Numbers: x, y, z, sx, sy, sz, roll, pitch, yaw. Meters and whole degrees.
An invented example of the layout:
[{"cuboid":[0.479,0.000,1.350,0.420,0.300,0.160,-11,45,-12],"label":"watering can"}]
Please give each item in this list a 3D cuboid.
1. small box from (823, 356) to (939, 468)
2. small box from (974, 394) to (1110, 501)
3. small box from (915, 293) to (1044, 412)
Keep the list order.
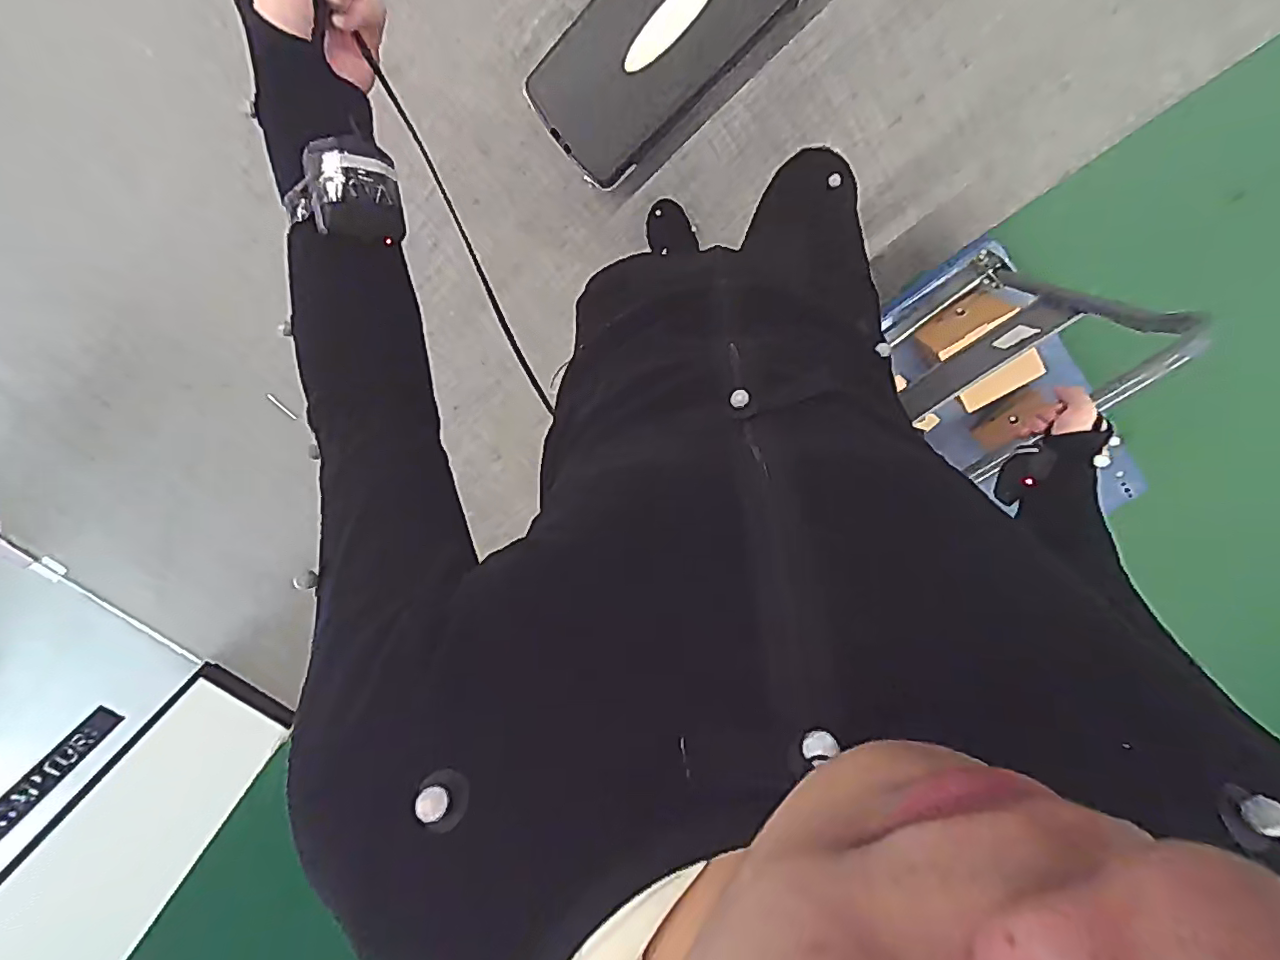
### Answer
[{"cuboid":[0.568,-0.170,1.301,0.168,0.176,0.179,40,117,-16],"label":"small box"},{"cuboid":[0.960,-0.087,1.310,0.179,0.176,0.168,35,118,-14],"label":"small box"},{"cuboid":[0.753,-0.290,1.214,0.168,0.176,0.179,-31,112,22],"label":"small box"}]
